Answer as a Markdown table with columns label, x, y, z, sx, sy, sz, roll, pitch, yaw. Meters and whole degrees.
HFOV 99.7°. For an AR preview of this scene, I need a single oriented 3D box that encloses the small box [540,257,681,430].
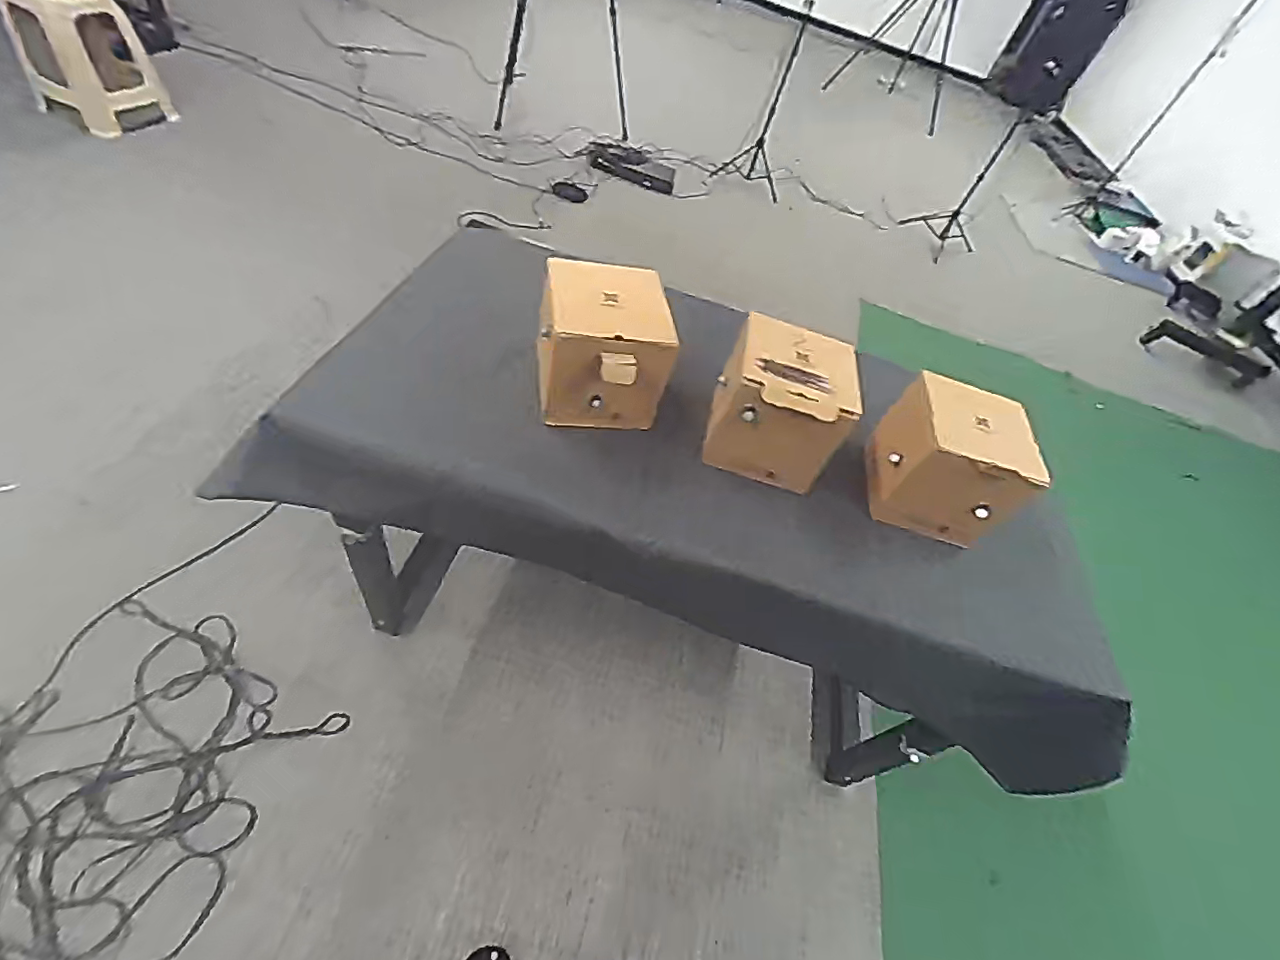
| label | x | y | z | sx | sy | sz | roll | pitch | yaw |
| --- | --- | --- | --- | --- | --- | --- | --- | --- | --- |
| small box | -0.055 | -0.198 | 0.803 | 0.168 | 0.176 | 0.179 | 1 | 53 | -16 |

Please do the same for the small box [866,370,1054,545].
| label | x | y | z | sx | sy | sz | roll | pitch | yaw |
| --- | --- | --- | --- | --- | --- | --- | --- | --- | --- |
| small box | 0.466 | -0.029 | 0.821 | 0.168 | 0.176 | 0.179 | 18 | 48 | -3 |
